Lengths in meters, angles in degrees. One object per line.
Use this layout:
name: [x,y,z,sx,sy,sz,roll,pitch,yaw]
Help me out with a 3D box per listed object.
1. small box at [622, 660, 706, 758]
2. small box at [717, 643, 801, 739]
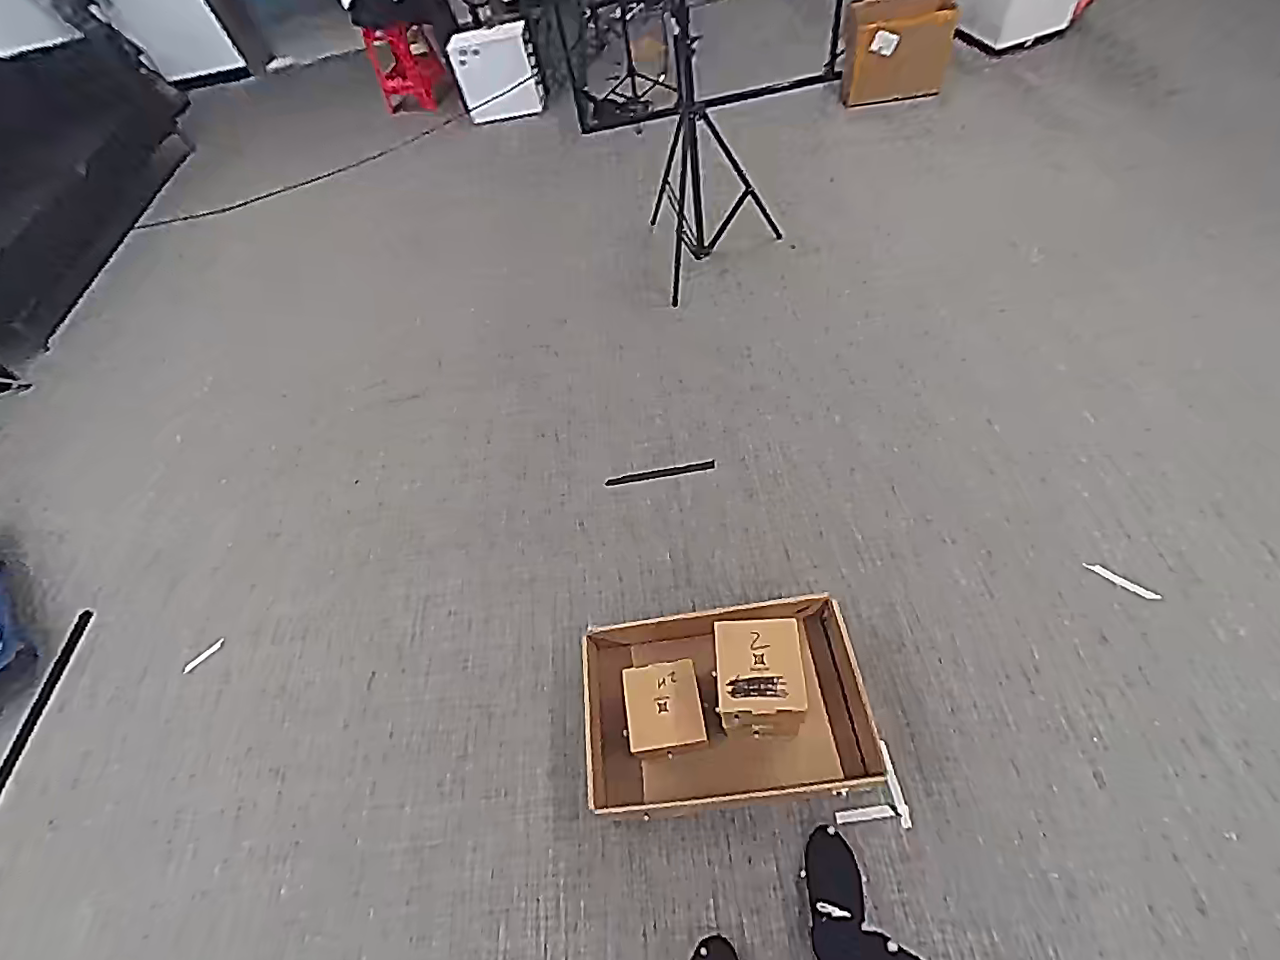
small box: [0.059,0.536,1.251,0.168,0.176,0.179,-10,56,2]
small box: [0.270,0.489,1.248,0.168,0.176,0.179,-7,57,9]
